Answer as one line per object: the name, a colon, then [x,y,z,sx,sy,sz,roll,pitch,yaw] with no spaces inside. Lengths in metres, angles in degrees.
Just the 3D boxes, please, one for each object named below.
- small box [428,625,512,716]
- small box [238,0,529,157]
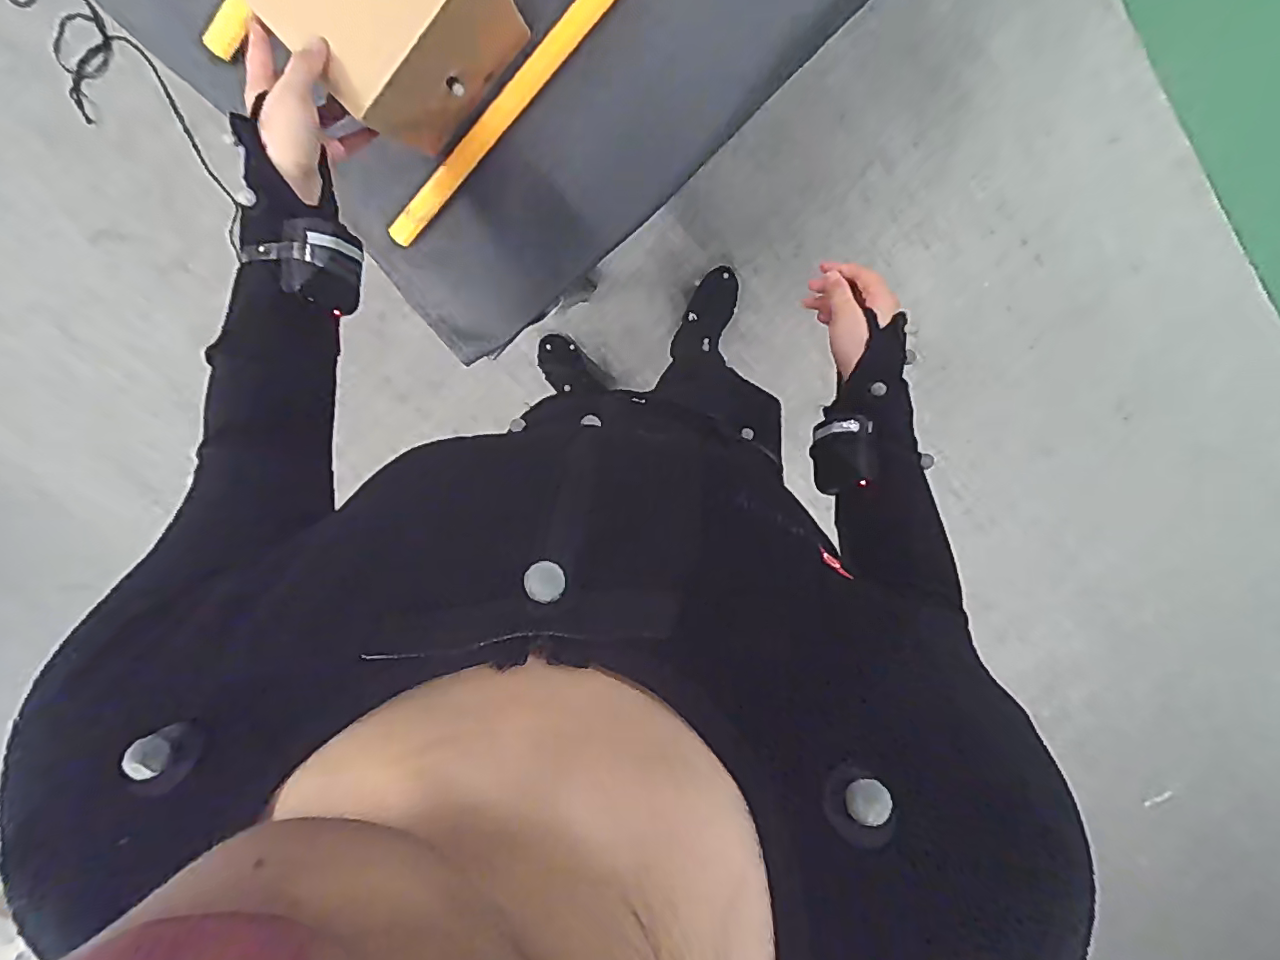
small box: [-0.522,0.592,1.699,0.168,0.176,0.179,42,108,-13]
small box: [-0.229,-0.433,0.499,0.168,0.176,0.179,-41,104,15]
